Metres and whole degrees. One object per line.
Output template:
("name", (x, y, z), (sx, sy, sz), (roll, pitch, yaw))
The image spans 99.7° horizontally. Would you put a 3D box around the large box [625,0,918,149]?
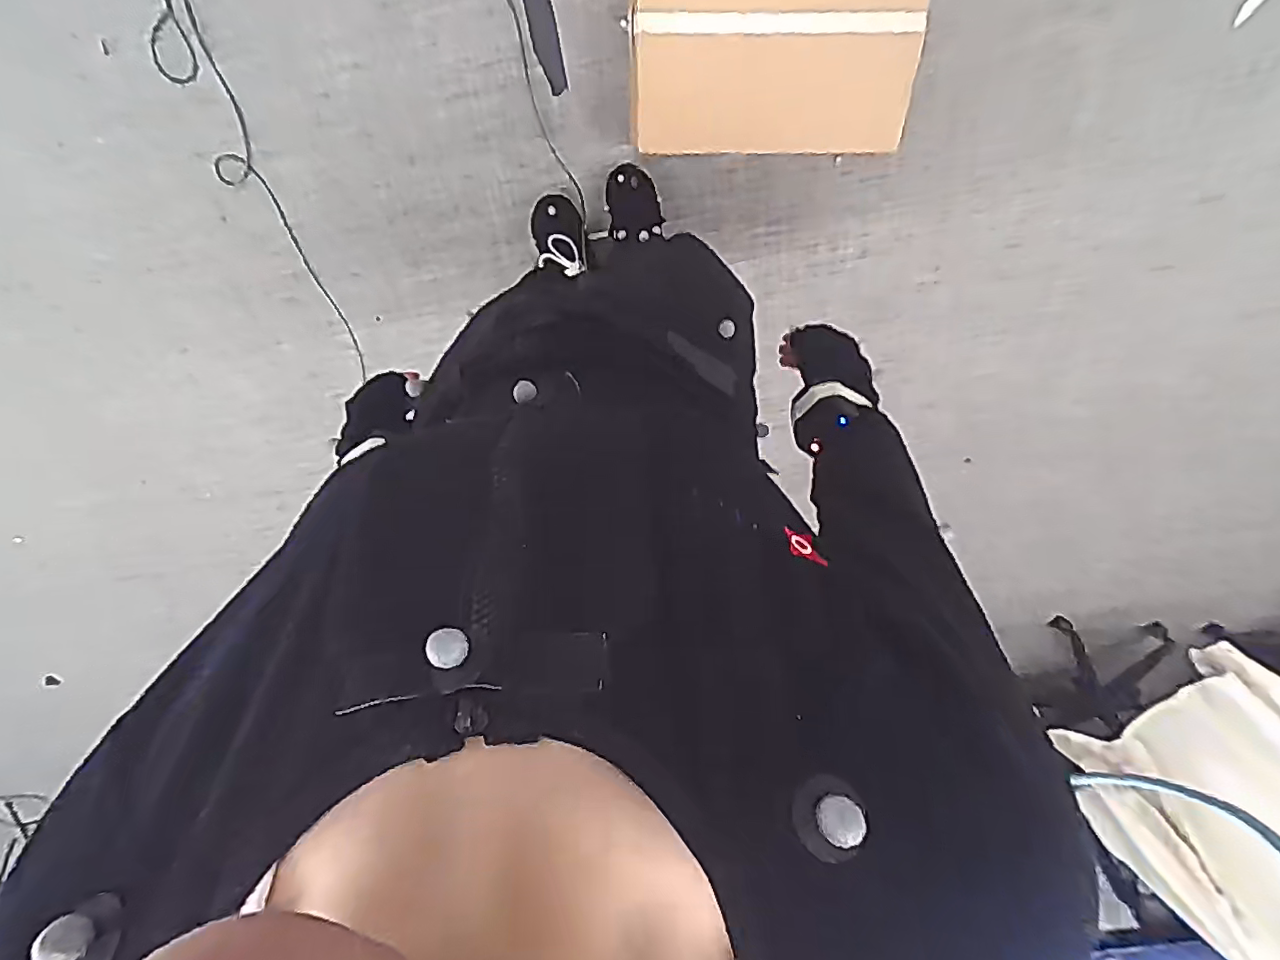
("large box", (0.180, -0.726, 0.870), (0.408, 0.320, 0.320), (-1, 124, -3))
